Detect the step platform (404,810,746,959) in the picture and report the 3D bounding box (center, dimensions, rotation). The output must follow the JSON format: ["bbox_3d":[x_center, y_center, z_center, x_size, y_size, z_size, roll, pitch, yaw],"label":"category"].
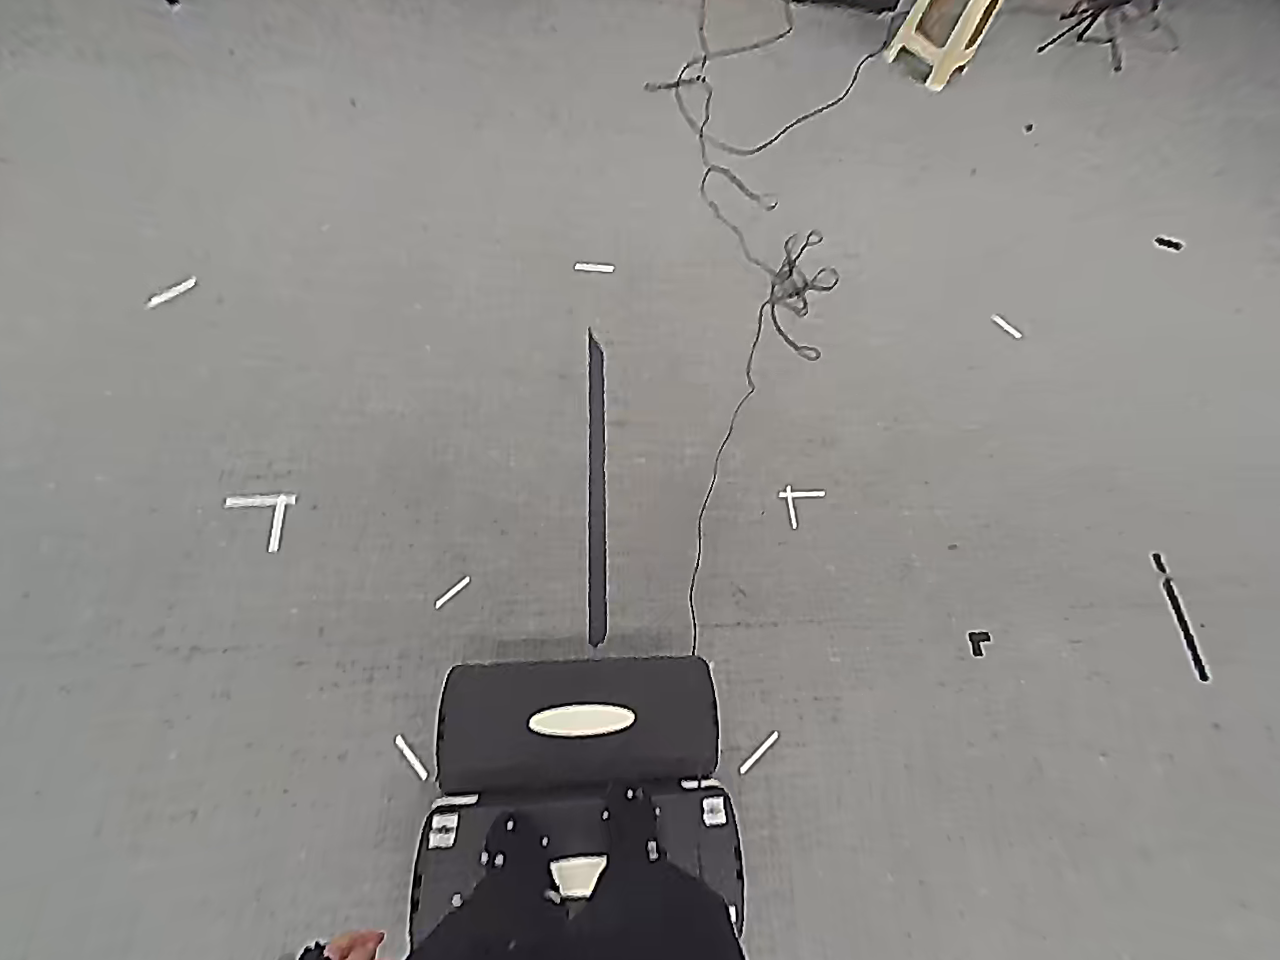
[{"bbox_3d":[-0.123,0.878,1.139,0.684,0.204,0.286,4,64,-5],"label":"step platform"}]
